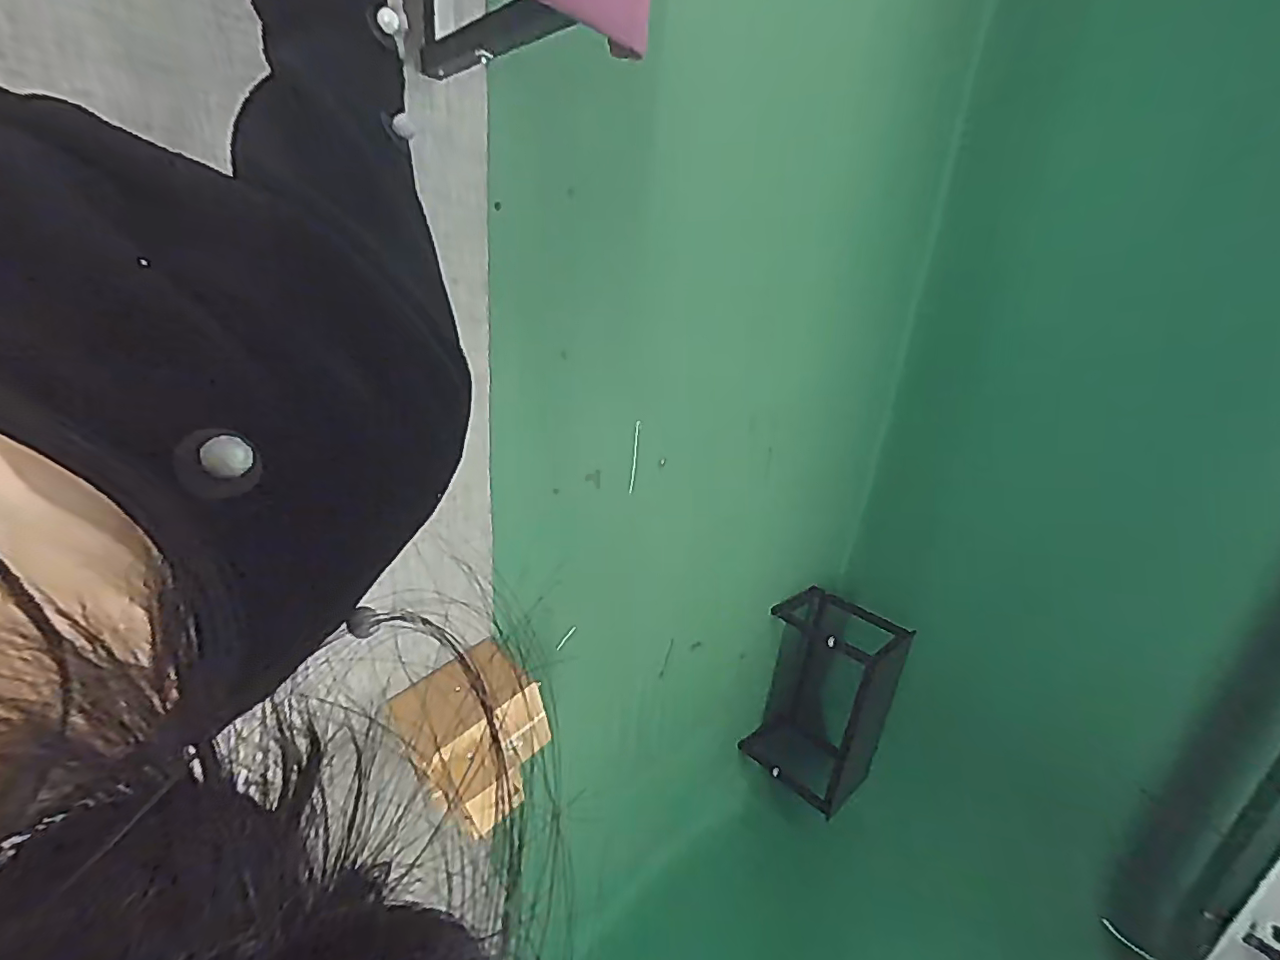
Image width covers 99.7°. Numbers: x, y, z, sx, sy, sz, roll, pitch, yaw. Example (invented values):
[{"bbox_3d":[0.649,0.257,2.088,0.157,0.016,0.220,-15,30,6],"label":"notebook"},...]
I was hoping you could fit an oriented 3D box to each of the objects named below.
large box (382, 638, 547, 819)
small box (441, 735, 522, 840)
[{"bbox_3d":[-0.593,0.831,1.858,0.408,0.320,0.320,-30,128,-35],"label":"large box"},{"bbox_3d":[-0.486,0.924,1.639,0.179,0.176,0.168,-24,124,-37],"label":"small box"}]
